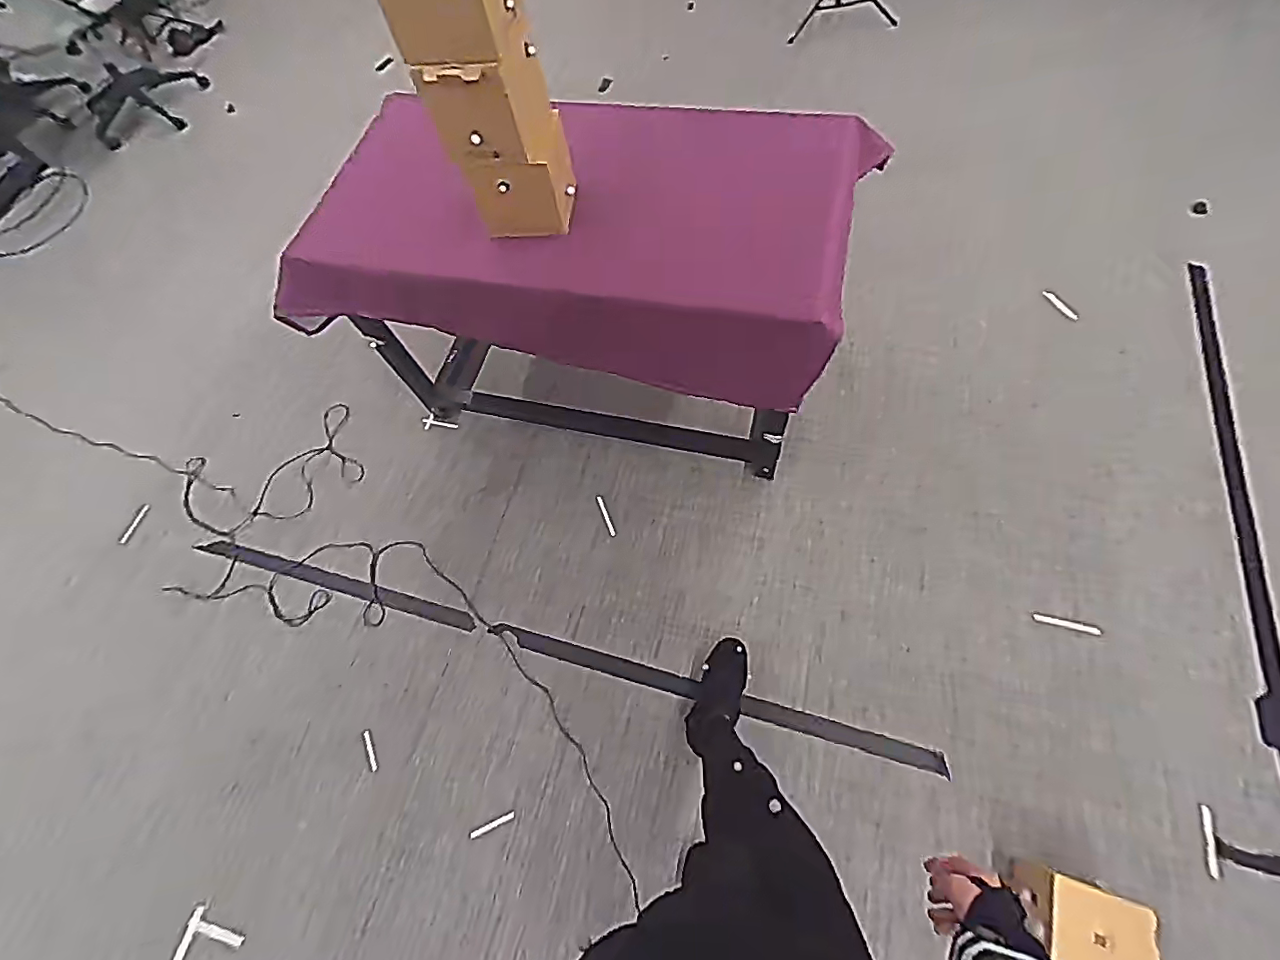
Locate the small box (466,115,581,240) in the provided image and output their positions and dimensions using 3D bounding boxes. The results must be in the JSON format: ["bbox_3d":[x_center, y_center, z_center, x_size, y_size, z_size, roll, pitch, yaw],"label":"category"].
[{"bbox_3d":[-0.236,-0.629,1.137,0.179,0.176,0.168,2,65,7],"label":"small box"}]

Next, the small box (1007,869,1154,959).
[{"bbox_3d":[0.875,0.917,1.087,0.179,0.176,0.168,16,68,13],"label":"small box"}]

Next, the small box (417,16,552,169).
[{"bbox_3d":[-0.273,-0.709,0.997,0.168,0.176,0.179,7,66,11],"label":"small box"}]
